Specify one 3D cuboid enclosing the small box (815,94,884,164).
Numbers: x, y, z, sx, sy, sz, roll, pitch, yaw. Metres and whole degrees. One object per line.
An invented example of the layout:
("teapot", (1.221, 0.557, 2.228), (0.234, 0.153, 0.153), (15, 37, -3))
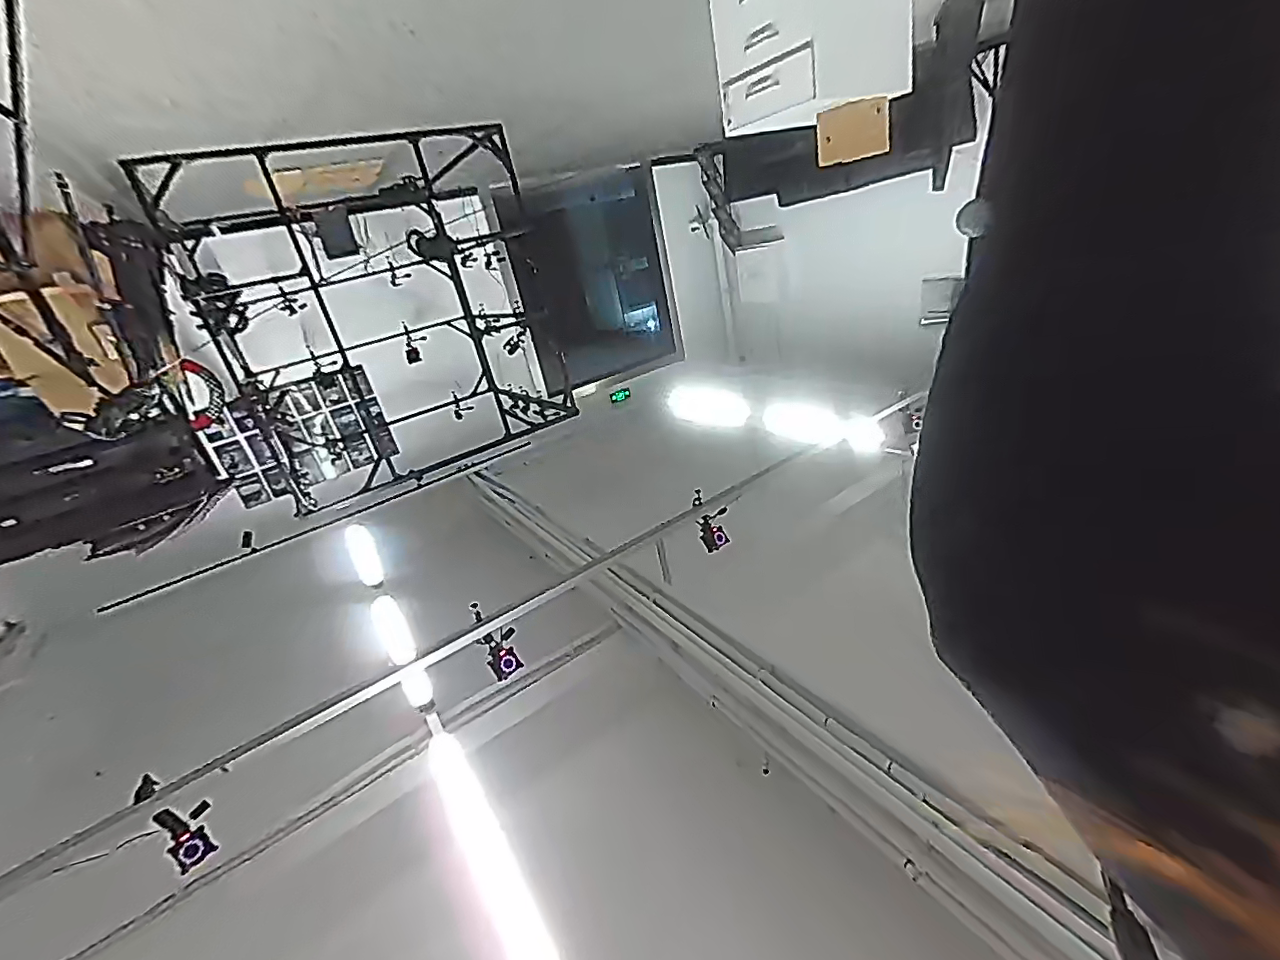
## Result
("small box", (0.730, -1.222, 1.883), (0.168, 0.176, 0.179), (-28, -151, -29))
